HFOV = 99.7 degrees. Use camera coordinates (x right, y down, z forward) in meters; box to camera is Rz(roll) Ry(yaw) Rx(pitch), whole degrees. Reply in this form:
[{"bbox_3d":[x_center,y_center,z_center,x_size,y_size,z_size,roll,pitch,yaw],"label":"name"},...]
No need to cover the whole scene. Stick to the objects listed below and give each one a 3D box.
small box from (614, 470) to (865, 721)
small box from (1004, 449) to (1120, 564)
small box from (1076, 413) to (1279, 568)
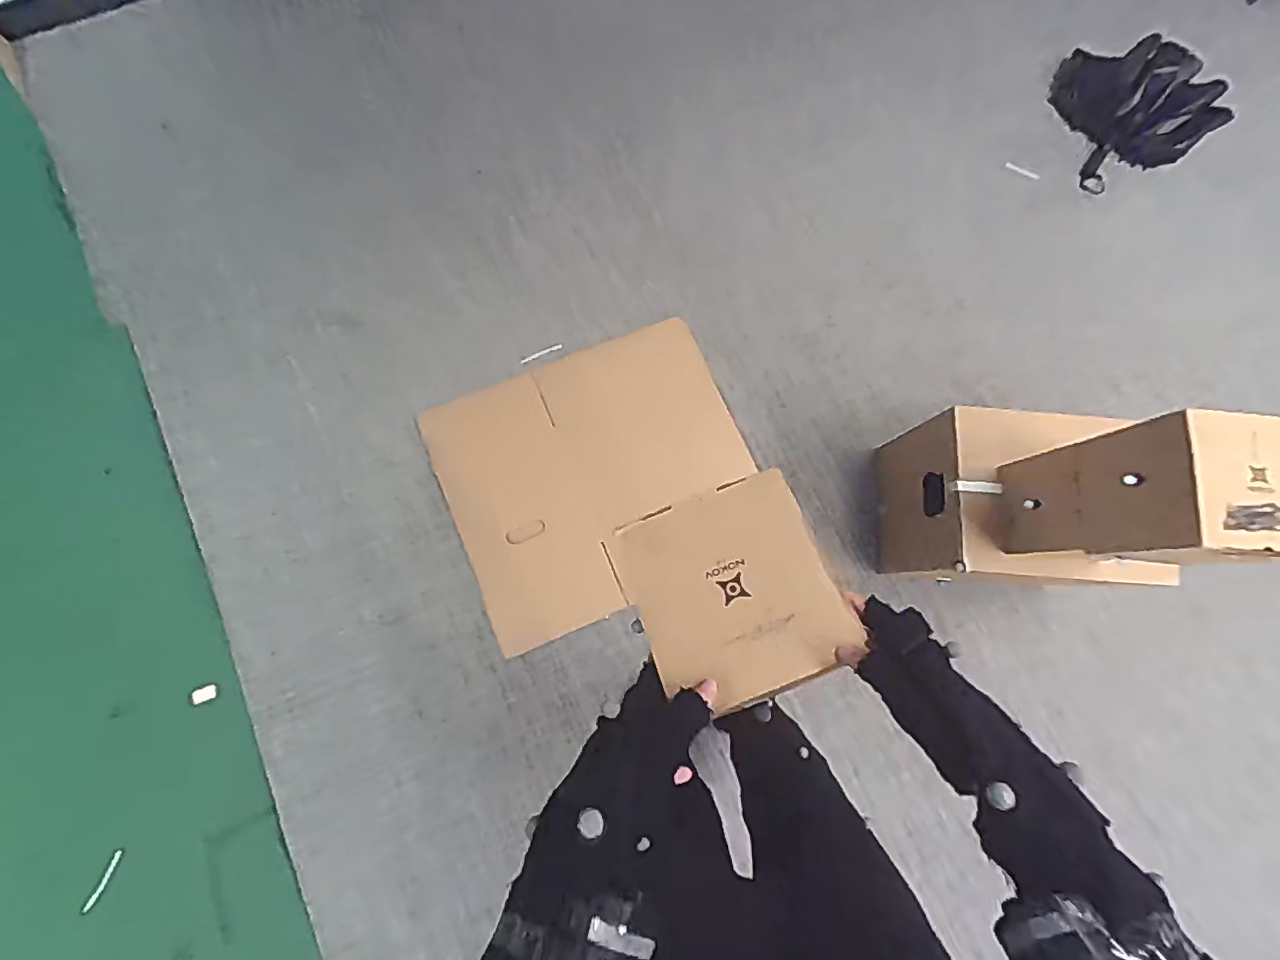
[{"bbox_3d":[0.091,0.124,0.538,0.168,0.176,0.179,-23,63,1],"label":"small box"},{"bbox_3d":[0.743,0.050,0.900,0.179,0.176,0.168,0,76,-3],"label":"small box"},{"bbox_3d":[0.742,0.024,0.735,0.168,0.176,0.179,5,77,-1],"label":"small box"}]
